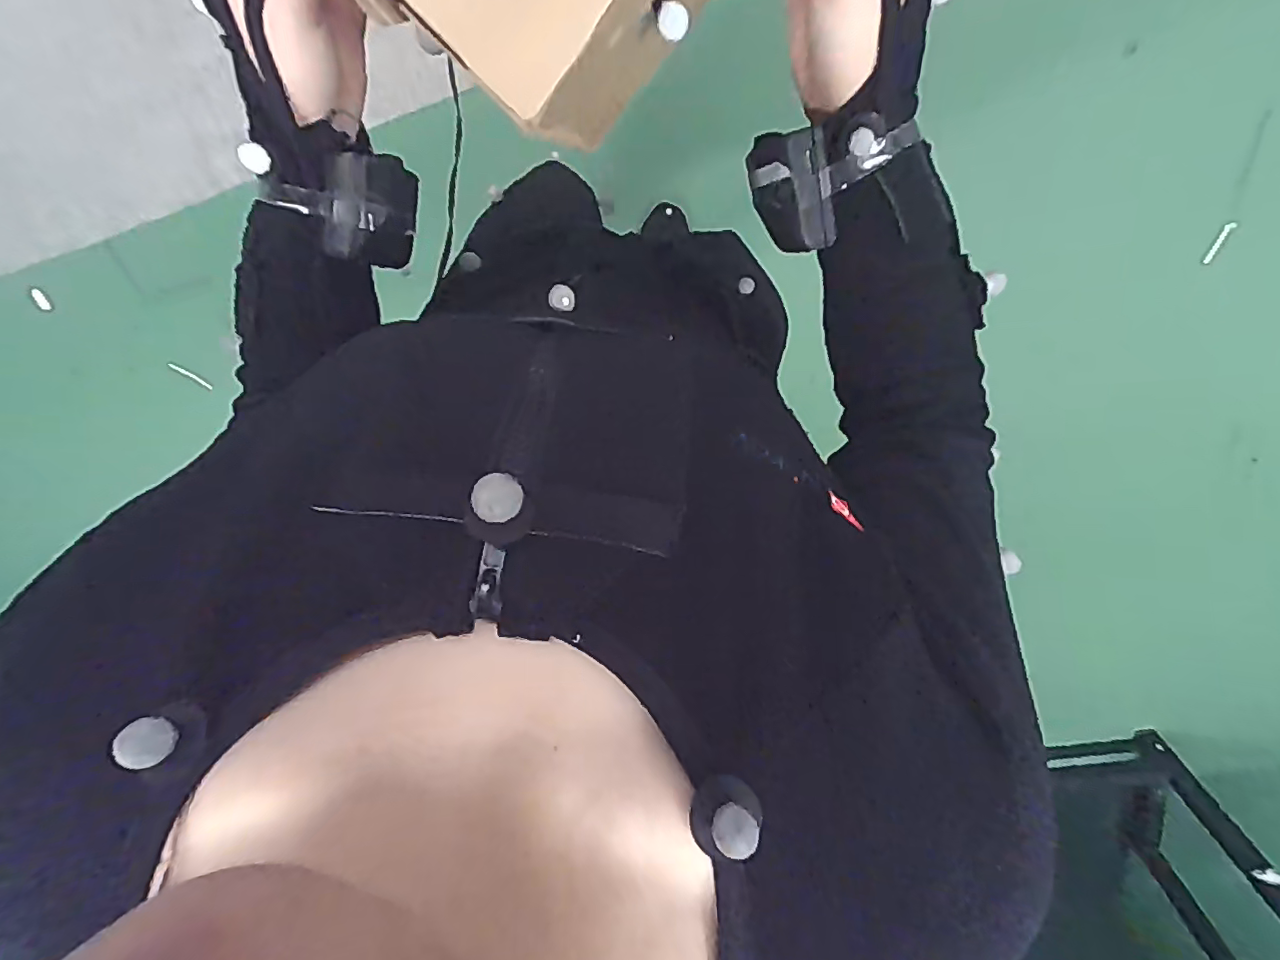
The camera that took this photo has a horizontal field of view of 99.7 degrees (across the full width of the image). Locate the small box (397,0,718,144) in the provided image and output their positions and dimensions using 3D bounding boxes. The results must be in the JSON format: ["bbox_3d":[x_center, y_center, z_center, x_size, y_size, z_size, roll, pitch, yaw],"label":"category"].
[{"bbox_3d":[-0.035,-0.281,0.236,0.168,0.176,0.179,41,115,-16],"label":"small box"}]
